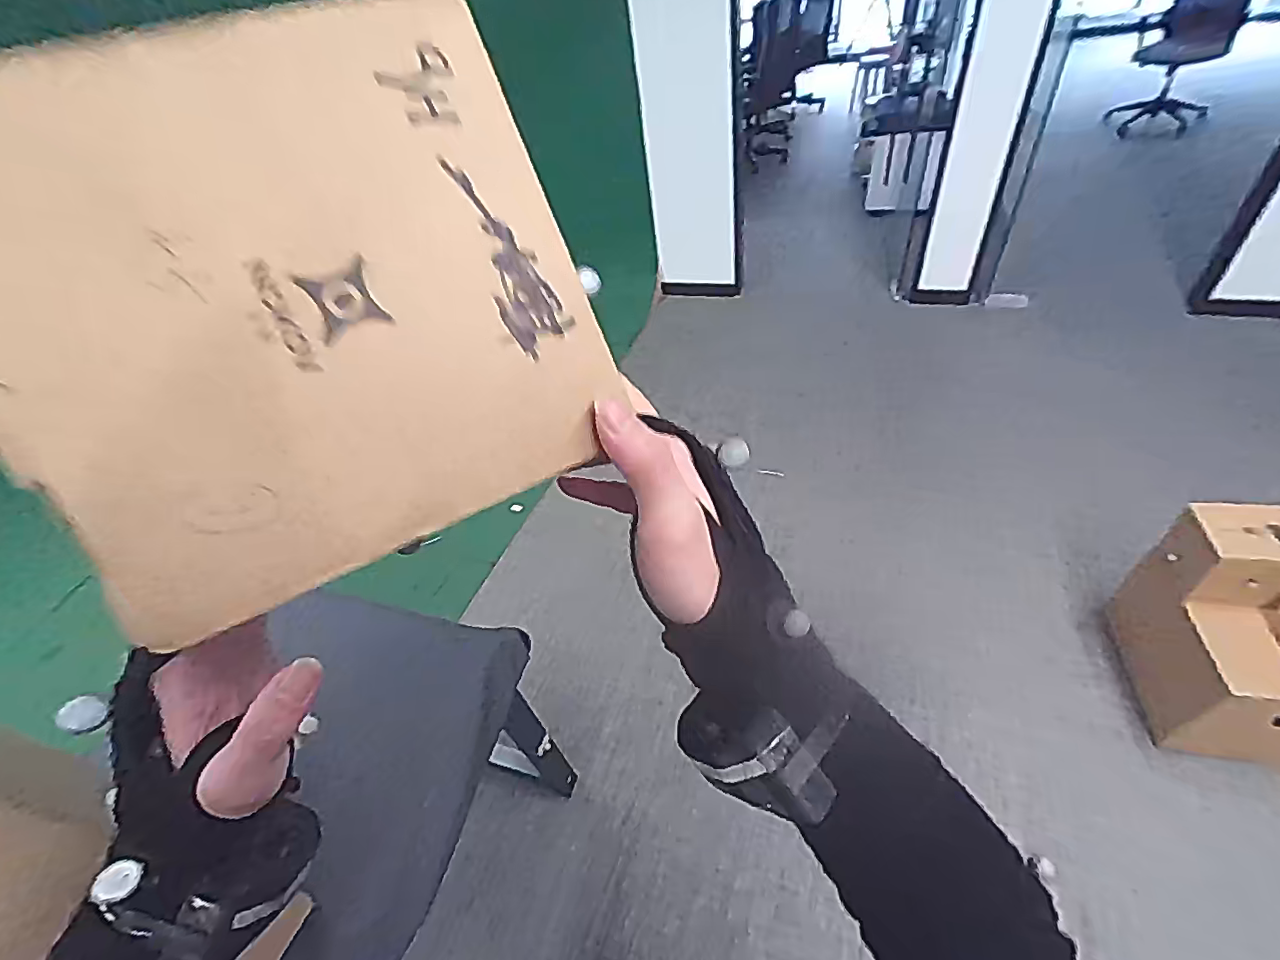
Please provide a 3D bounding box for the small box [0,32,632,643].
[{"bbox_3d":[-0.130,-0.056,0.261,0.179,0.168,0.176,-25,11,-15],"label":"small box"}]

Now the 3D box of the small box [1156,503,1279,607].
[{"bbox_3d":[1.352,0.173,1.239,0.179,0.176,0.168,2,45,18],"label":"small box"}]
